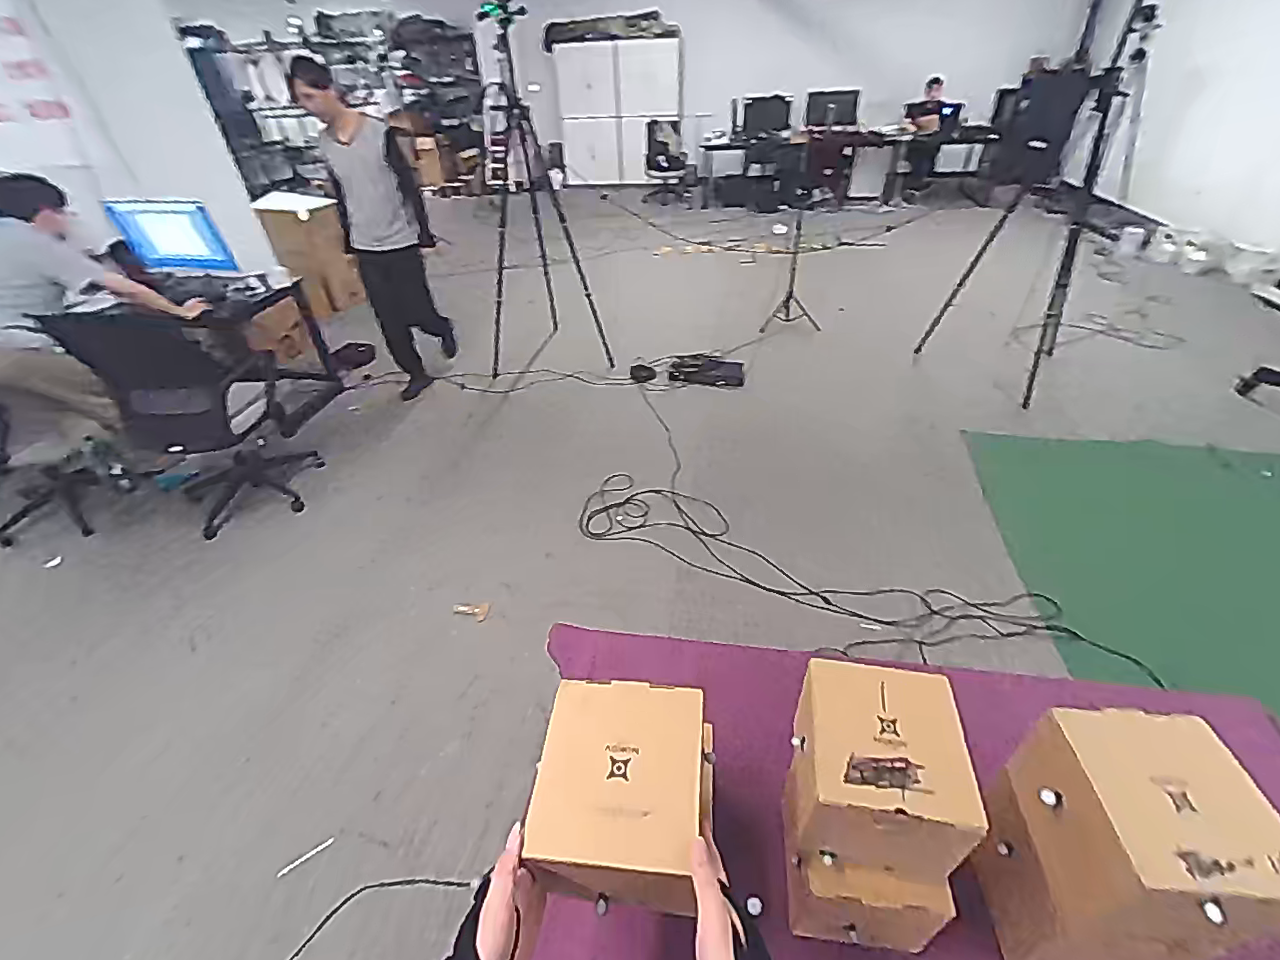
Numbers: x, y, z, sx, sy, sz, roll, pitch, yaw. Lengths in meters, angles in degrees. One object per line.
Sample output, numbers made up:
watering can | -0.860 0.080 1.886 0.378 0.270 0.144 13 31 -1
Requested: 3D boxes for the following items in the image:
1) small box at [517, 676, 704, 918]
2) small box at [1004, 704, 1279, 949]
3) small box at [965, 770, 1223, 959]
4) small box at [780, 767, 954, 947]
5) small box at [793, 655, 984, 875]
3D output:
small box | -0.017 0.342 0.590 0.168 0.176 0.179 1 42 8
small box | 0.546 0.377 0.598 0.168 0.176 0.179 0 37 6
small box | 0.552 0.507 0.698 0.168 0.176 0.179 1 38 6
small box | 0.289 0.494 0.736 0.168 0.176 0.179 3 39 7
small box | 0.282 0.346 0.660 0.168 0.176 0.179 5 38 10
